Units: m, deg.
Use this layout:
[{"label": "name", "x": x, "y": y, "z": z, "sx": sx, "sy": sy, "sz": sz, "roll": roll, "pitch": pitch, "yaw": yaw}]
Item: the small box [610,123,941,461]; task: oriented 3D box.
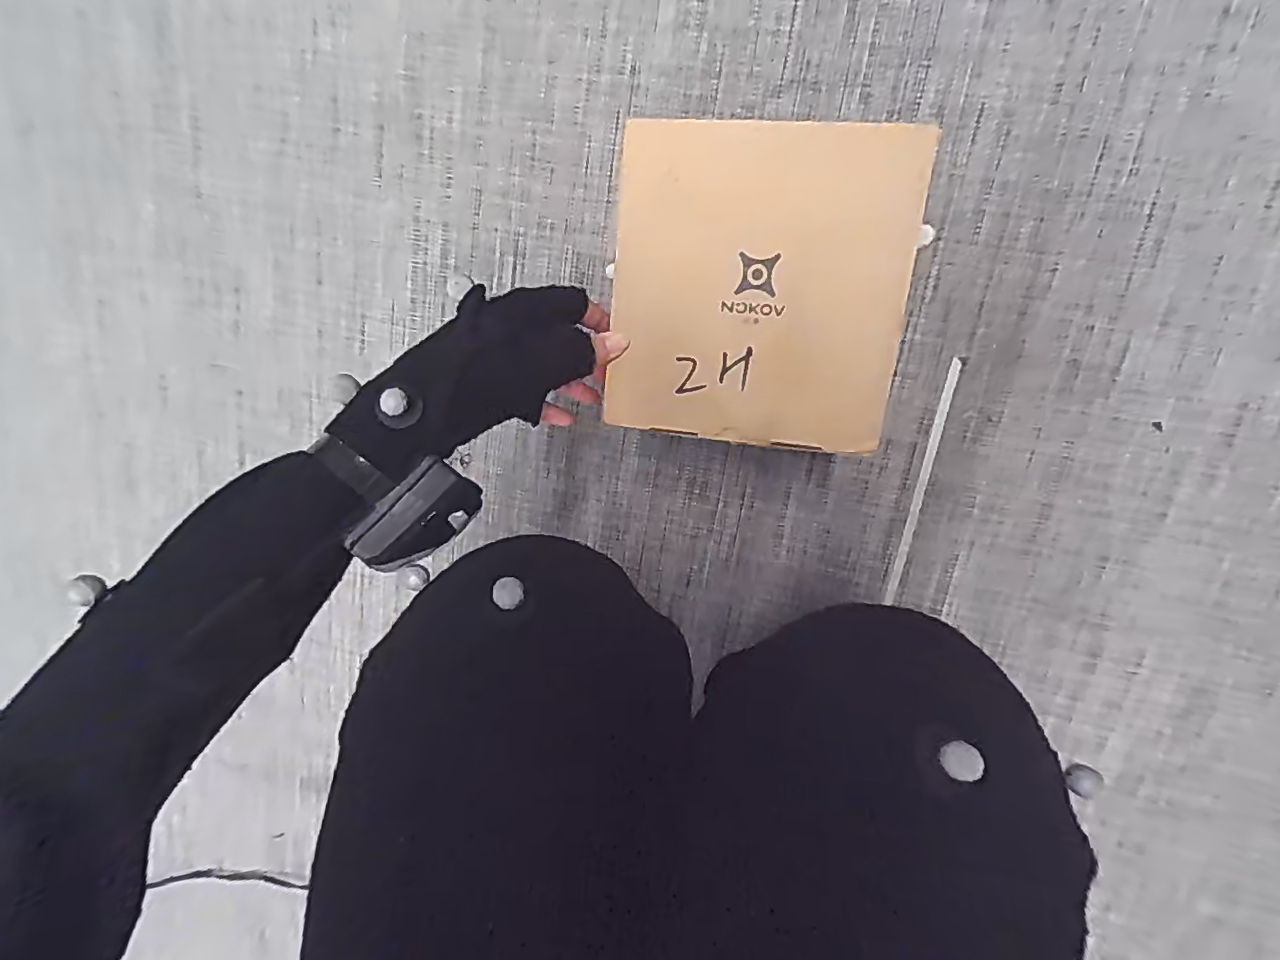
[{"label": "small box", "x": 0.085, "y": -0.121, "z": 0.387, "sx": 0.168, "sy": 0.176, "sz": 0.179, "roll": 8, "pitch": 103, "yaw": 10}]
